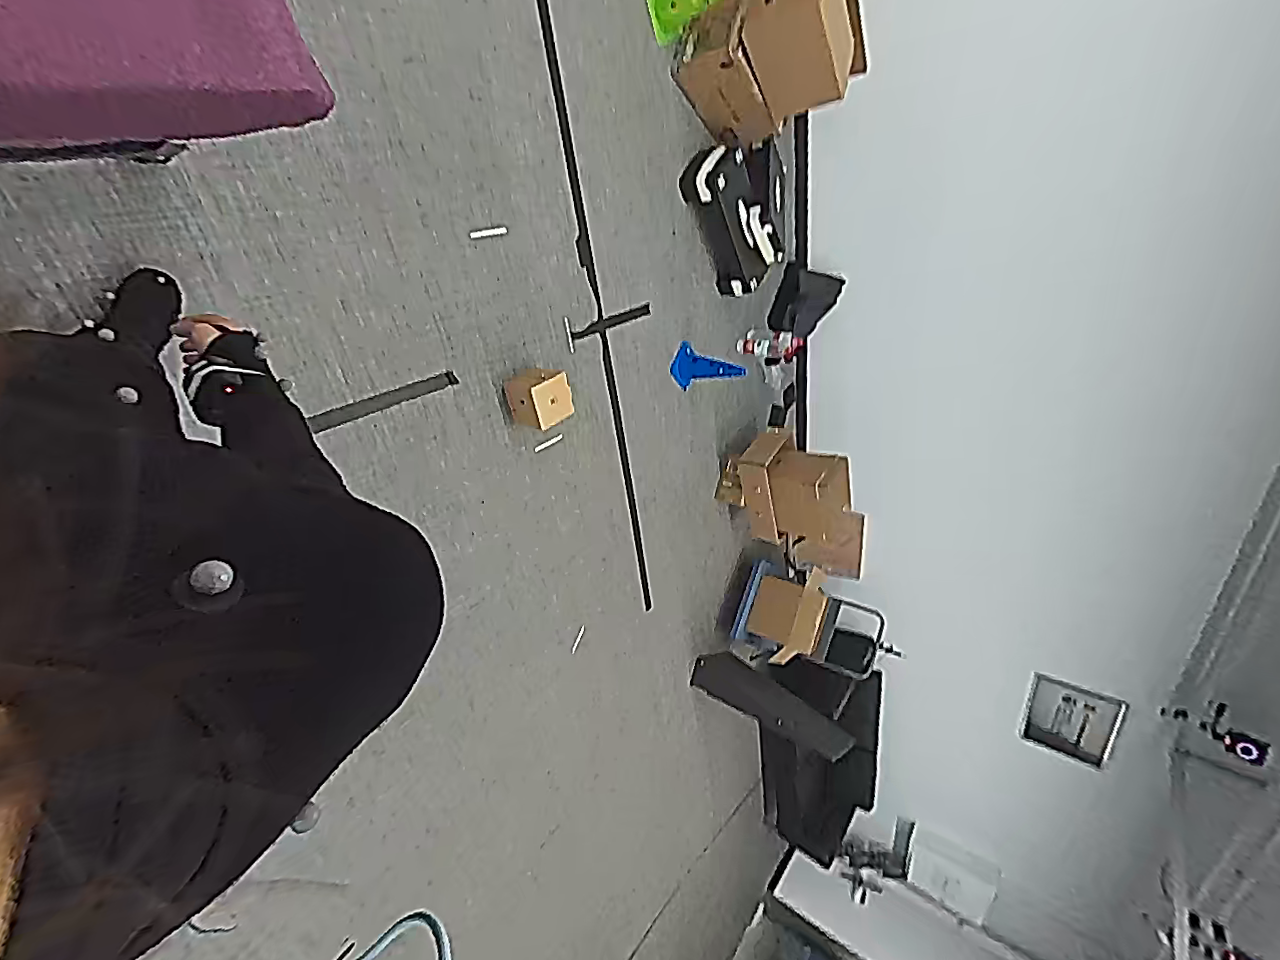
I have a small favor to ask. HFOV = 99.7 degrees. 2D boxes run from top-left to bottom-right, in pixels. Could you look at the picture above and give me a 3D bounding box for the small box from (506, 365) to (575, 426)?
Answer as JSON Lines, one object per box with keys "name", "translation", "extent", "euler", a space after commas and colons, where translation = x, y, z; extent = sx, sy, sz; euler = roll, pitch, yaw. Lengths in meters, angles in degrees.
{"name": "small box", "translation": [-0.377, -0.319, 2.014], "extent": [0.179, 0.176, 0.168], "euler": [-39, 130, -38]}
